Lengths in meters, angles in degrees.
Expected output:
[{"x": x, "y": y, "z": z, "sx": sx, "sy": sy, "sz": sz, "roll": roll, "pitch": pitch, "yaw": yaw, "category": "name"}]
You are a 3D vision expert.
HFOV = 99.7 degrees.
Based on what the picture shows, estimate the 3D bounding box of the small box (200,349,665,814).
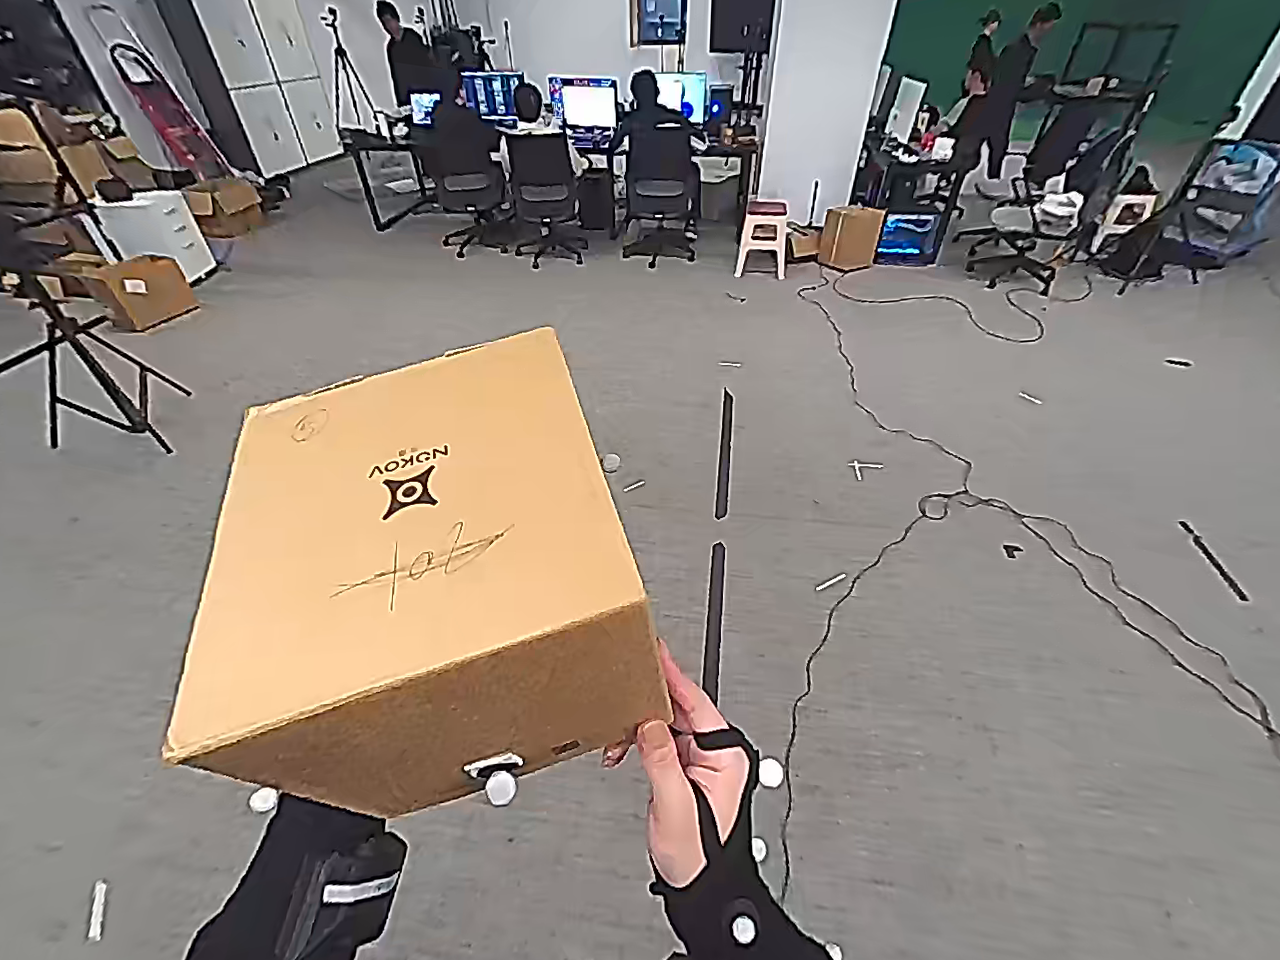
[{"x": -0.093, "y": 0.060, "z": 0.311, "sx": 0.168, "sy": 0.176, "sz": 0.179, "roll": -19, "pitch": 52, "yaw": -6, "category": "small box"}]
